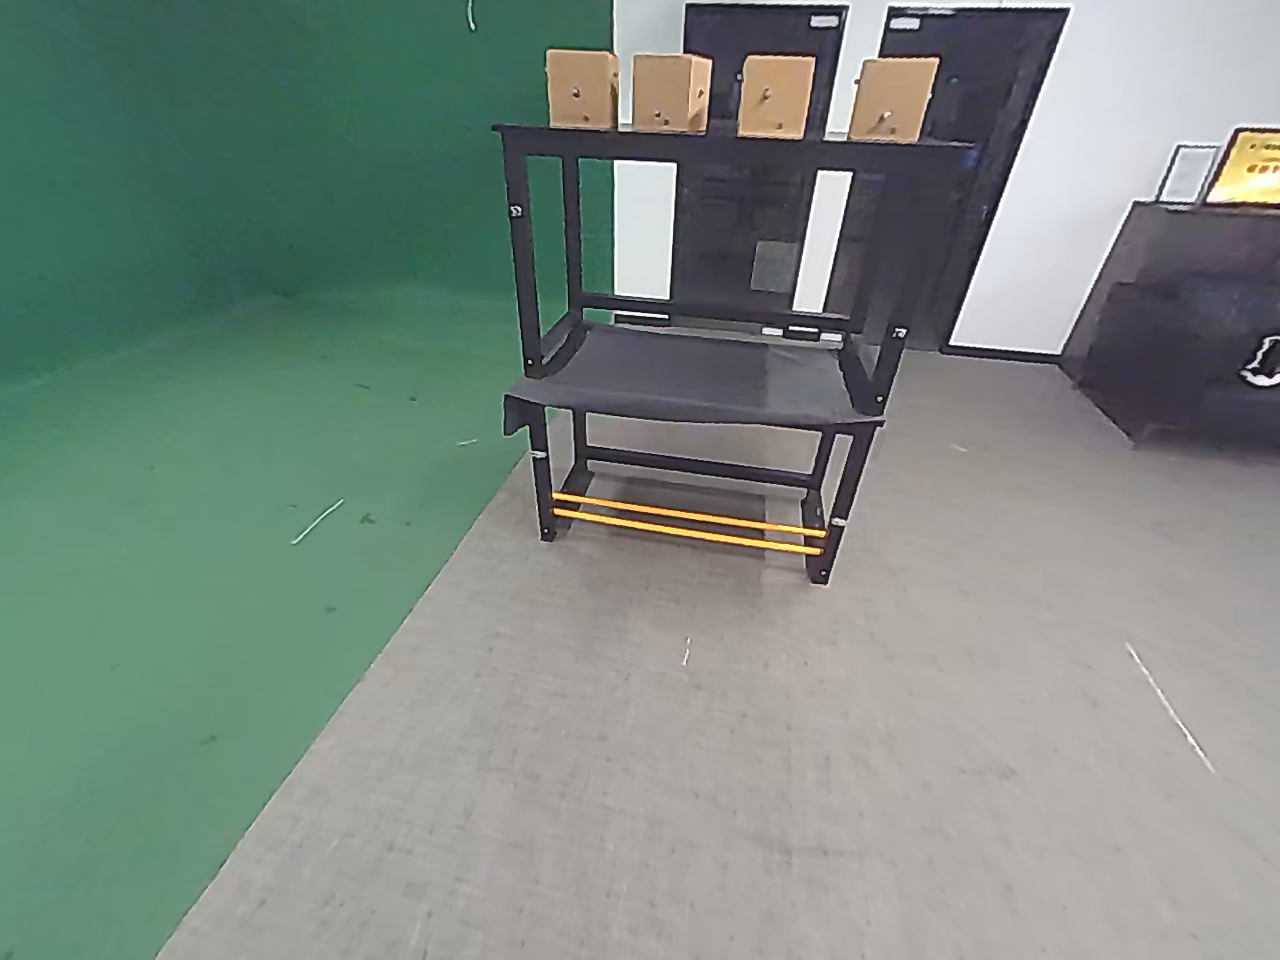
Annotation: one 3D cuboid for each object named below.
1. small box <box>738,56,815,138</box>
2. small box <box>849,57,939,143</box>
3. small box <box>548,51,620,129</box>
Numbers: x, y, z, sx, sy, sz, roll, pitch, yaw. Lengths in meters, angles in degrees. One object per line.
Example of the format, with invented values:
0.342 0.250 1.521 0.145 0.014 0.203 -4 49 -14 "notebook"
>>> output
0.353 -1.007 1.428 0.168 0.176 0.179 5 34 4 "small box"
0.643 -0.974 1.390 0.168 0.176 0.179 10 36 13 "small box"
-0.150 -1.082 1.508 0.168 0.176 0.179 6 35 4 "small box"
